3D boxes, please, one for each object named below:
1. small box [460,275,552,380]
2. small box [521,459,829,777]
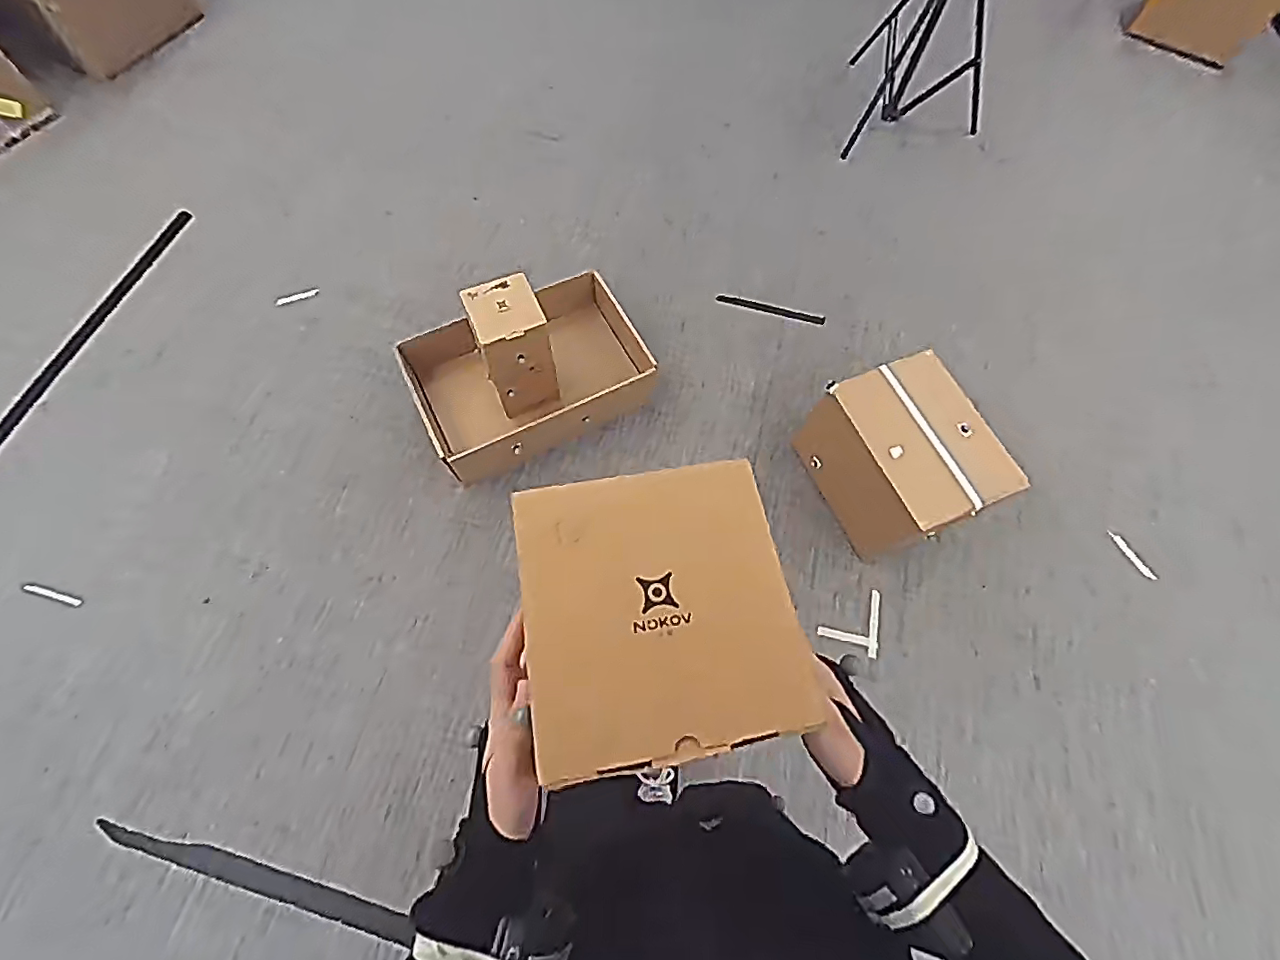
[{"bbox_3d":[-0.330,-0.375,1.363,0.168,0.176,0.179,-21,70,-12],"label":"small box"},{"bbox_3d":[0.008,0.107,0.406,0.168,0.176,0.179,-9,66,-9],"label":"small box"}]
